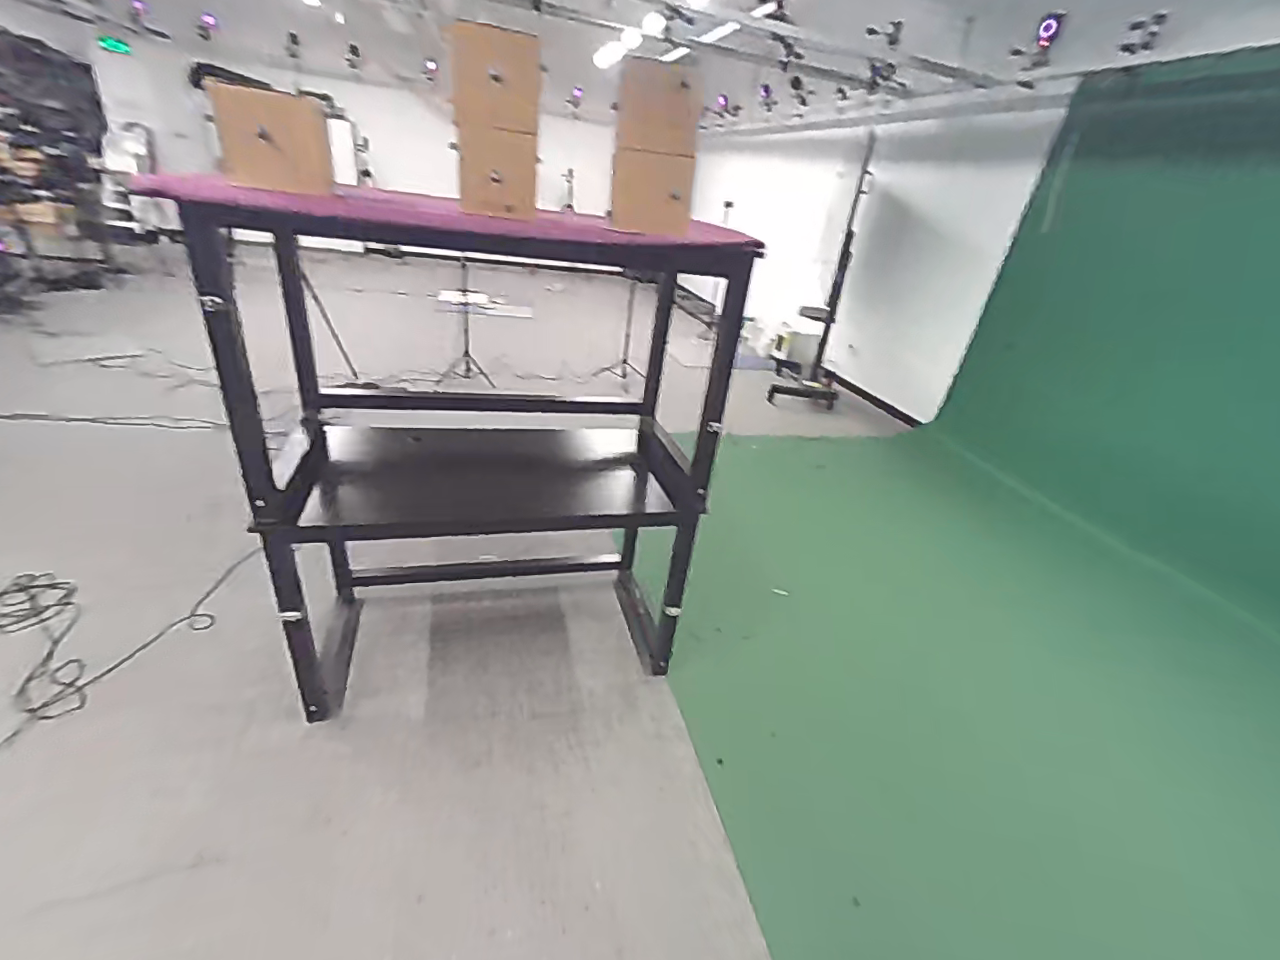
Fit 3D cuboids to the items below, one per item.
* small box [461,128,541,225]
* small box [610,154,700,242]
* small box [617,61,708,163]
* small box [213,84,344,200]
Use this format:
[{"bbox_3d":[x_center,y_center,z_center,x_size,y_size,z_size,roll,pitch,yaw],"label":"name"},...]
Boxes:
[{"bbox_3d":[-0.314,-0.679,1.221,0.168,0.176,0.179,0,28,-17],"label":"small box"},{"bbox_3d":[0.029,-0.665,1.289,0.179,0.176,0.168,-1,26,-12],"label":"small box"},{"bbox_3d":[0.042,-0.813,1.224,0.179,0.176,0.168,2,25,-10],"label":"small box"},{"bbox_3d":[-0.705,-0.664,1.078,0.179,0.176,0.168,-4,31,-22],"label":"small box"}]
